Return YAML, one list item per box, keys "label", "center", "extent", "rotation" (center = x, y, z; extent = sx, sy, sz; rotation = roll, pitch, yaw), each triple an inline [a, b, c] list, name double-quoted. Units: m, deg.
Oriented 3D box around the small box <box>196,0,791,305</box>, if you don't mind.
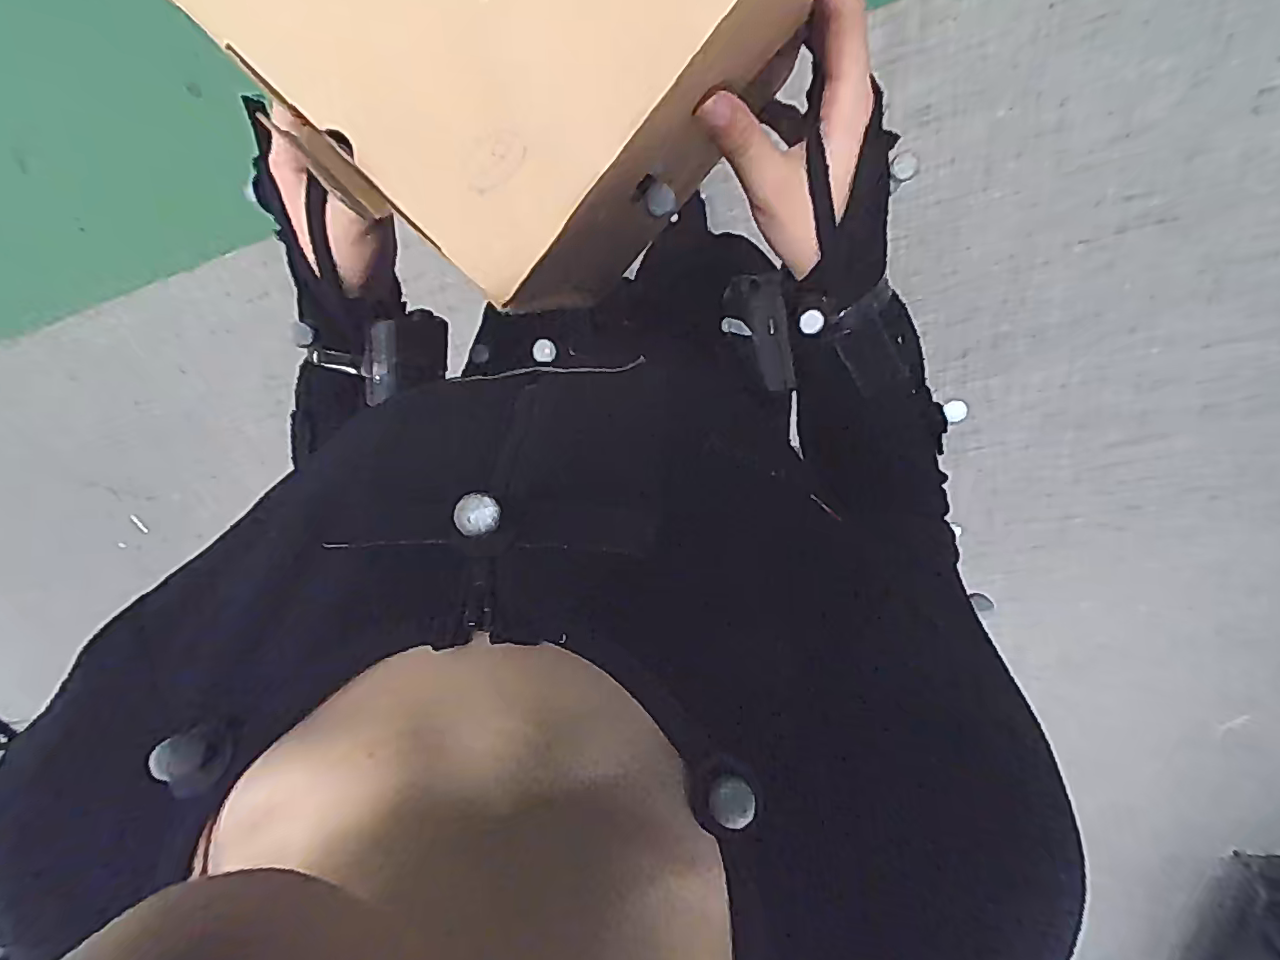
- label: "small box"
  center: [-0.041, -0.206, 0.257]
  extent: [0.168, 0.176, 0.179]
  rotation: [43, 110, -7]
